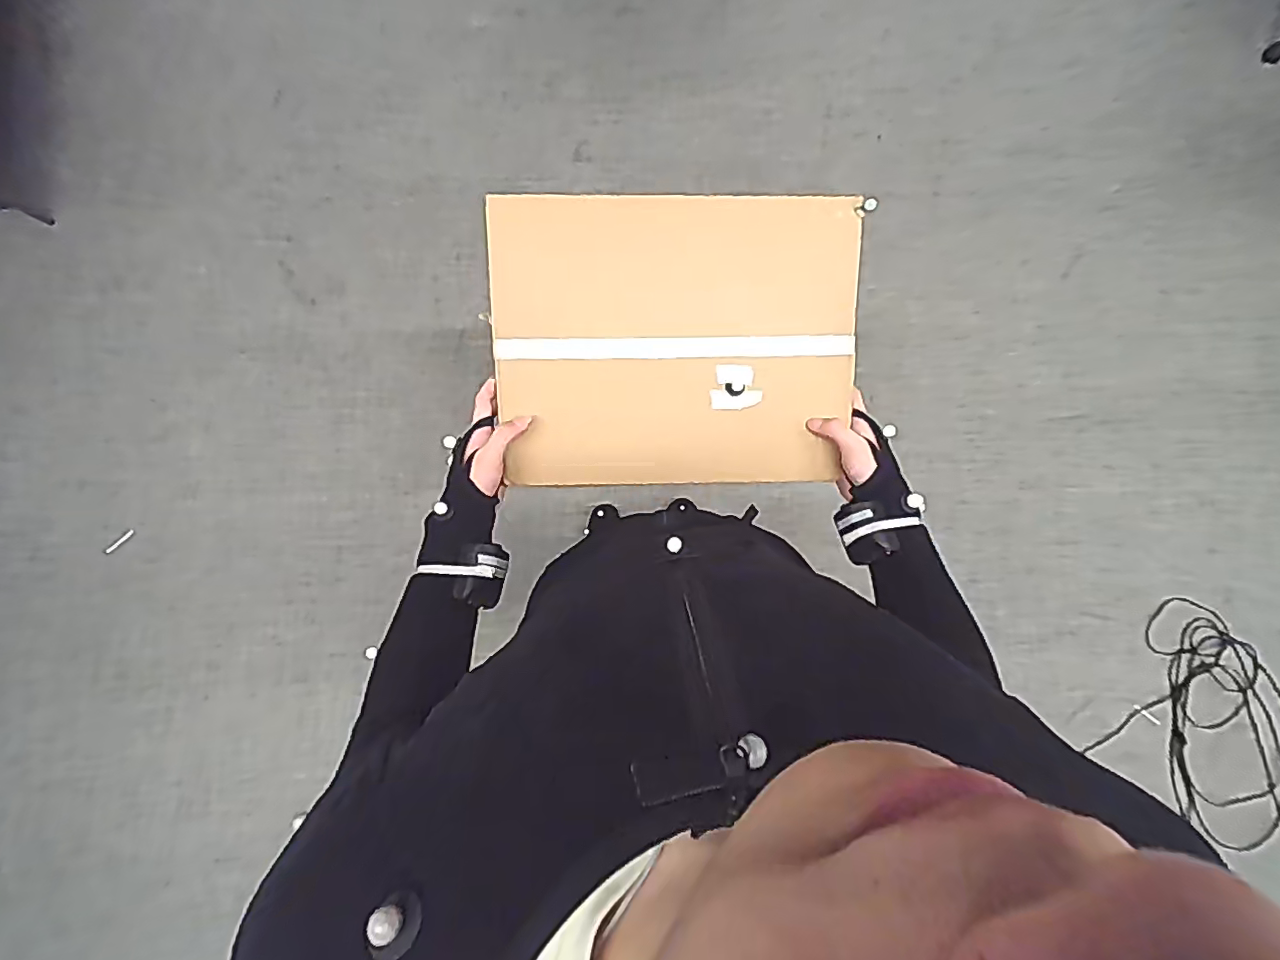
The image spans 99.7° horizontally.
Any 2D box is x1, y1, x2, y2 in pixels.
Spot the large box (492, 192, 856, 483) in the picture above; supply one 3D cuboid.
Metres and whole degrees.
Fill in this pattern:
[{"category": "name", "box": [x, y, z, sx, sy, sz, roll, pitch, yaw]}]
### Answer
[{"category": "large box", "box": [0.036, -0.184, 0.758, 0.408, 0.320, 0.320, -2, 102, -3]}]
